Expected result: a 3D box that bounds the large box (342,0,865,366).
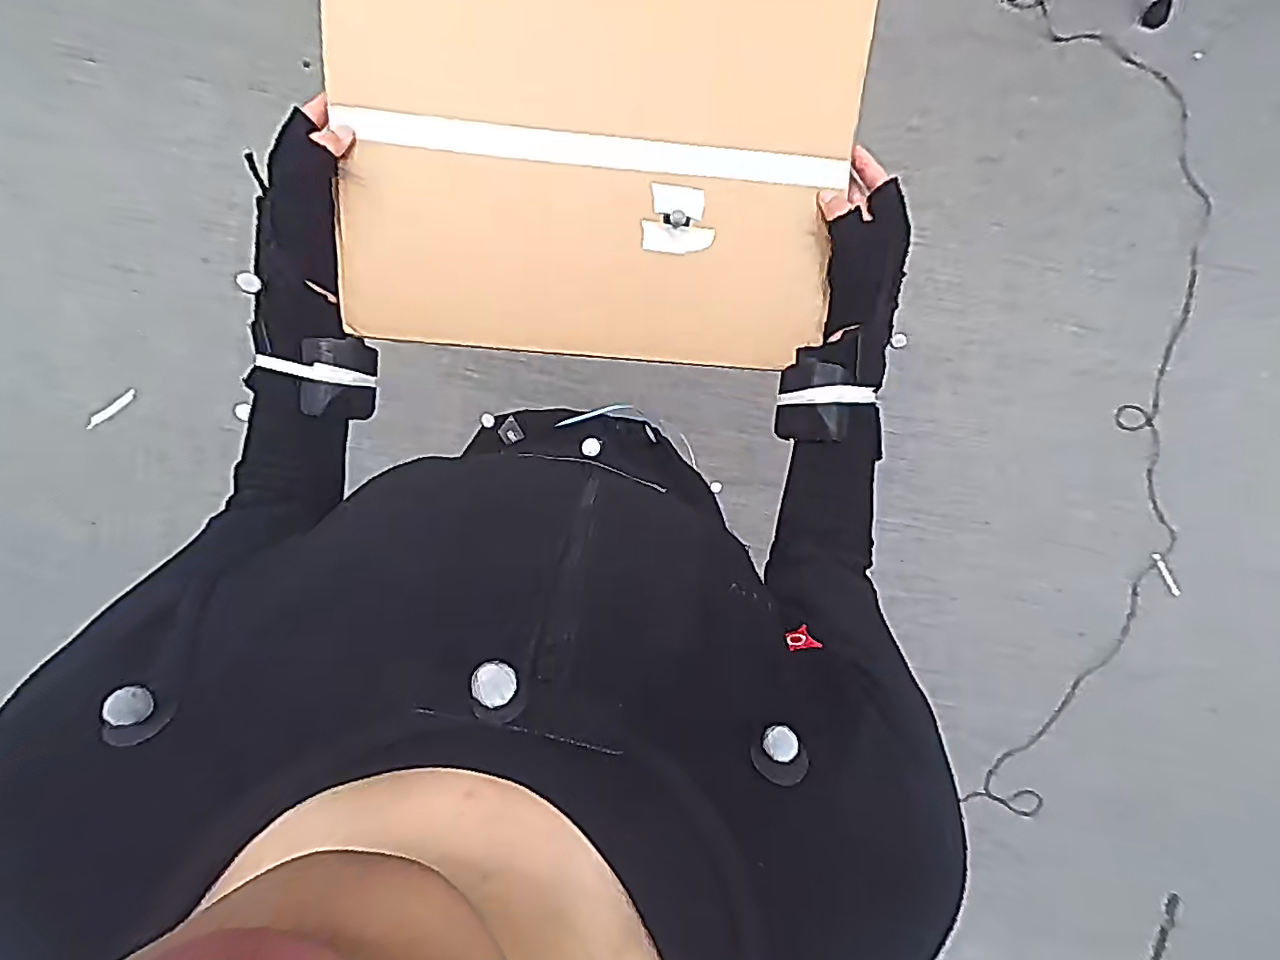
[{"bbox_3d":[-0.042,-0.300,0.582,0.408,0.320,0.320,3,106,-5],"label":"large box"}]
